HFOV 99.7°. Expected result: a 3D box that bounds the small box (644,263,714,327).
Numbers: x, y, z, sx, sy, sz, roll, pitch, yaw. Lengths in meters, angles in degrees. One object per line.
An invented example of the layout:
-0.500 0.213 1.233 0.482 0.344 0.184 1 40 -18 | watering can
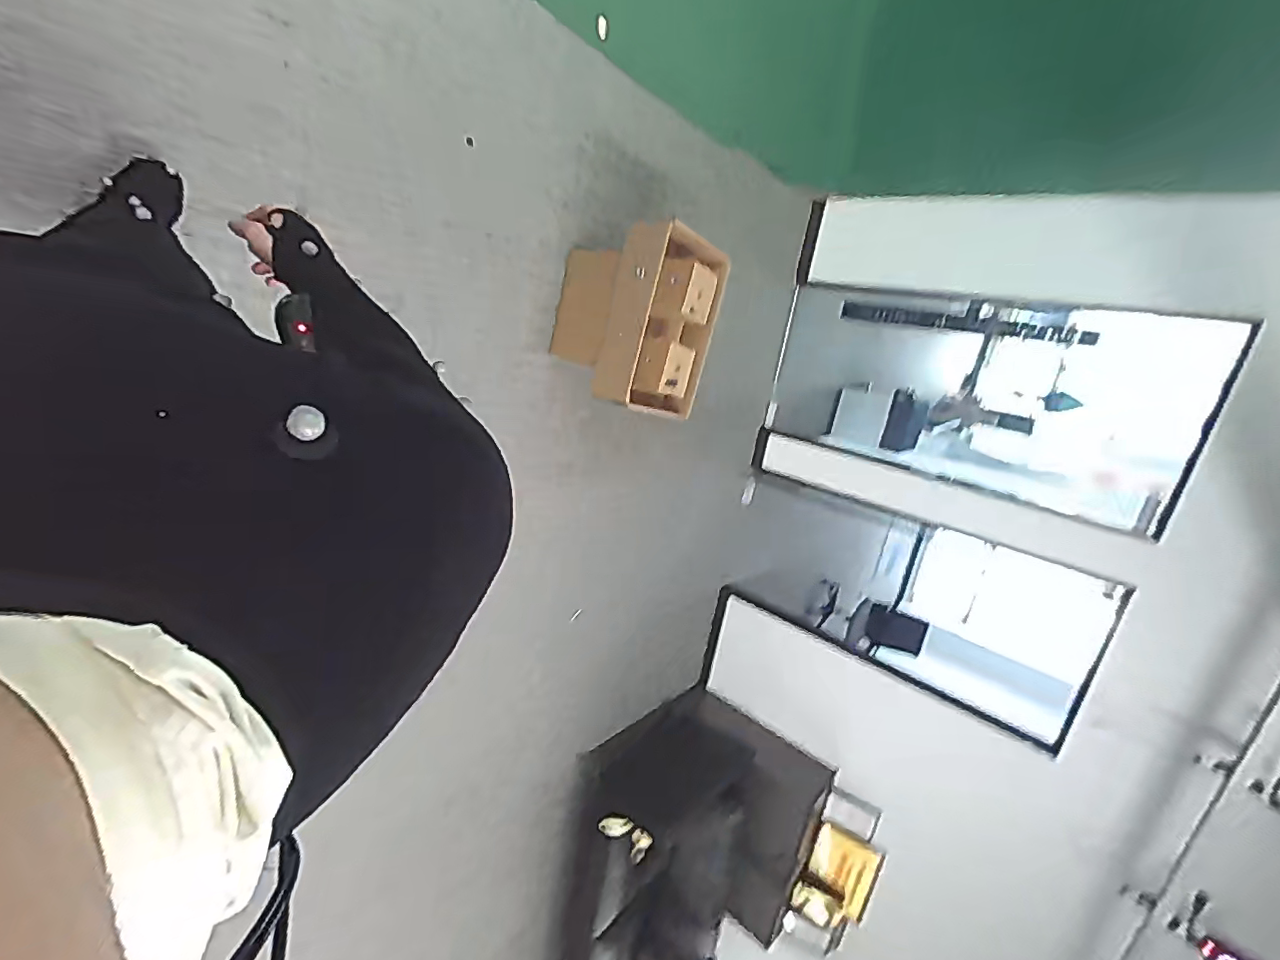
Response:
0.135 -0.659 1.924 0.168 0.176 0.179 4 103 -54 | small box
